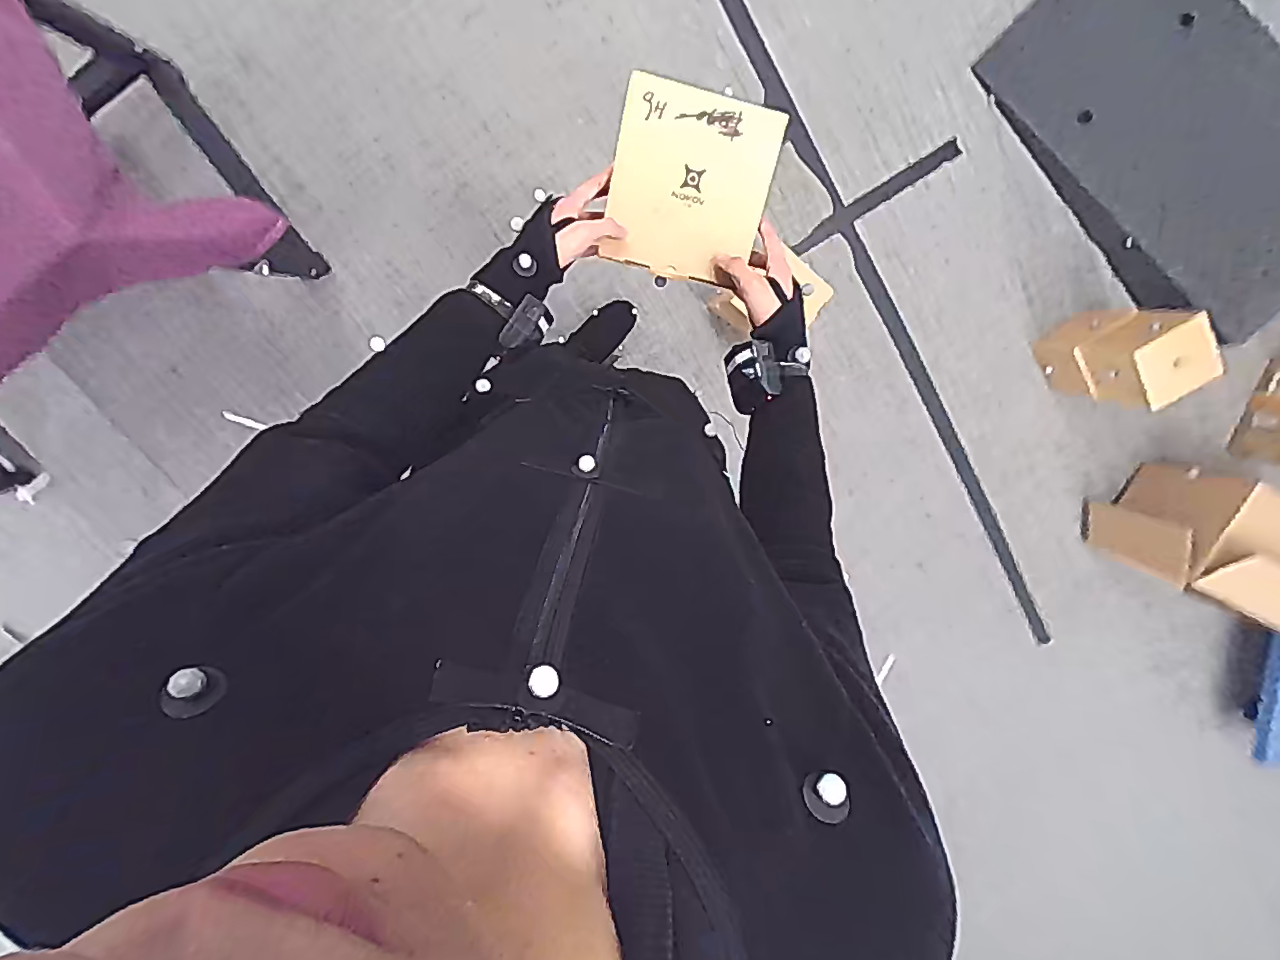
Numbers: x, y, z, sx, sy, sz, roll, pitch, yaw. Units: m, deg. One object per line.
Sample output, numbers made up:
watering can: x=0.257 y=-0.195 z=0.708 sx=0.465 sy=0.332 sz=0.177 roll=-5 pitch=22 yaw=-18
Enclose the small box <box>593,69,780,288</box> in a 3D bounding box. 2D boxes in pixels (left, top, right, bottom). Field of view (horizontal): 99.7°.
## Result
small box: x=0.044 y=-0.341 z=0.643 sx=0.168 sy=0.176 sz=0.179 roll=11 pitch=112 yaw=-7
